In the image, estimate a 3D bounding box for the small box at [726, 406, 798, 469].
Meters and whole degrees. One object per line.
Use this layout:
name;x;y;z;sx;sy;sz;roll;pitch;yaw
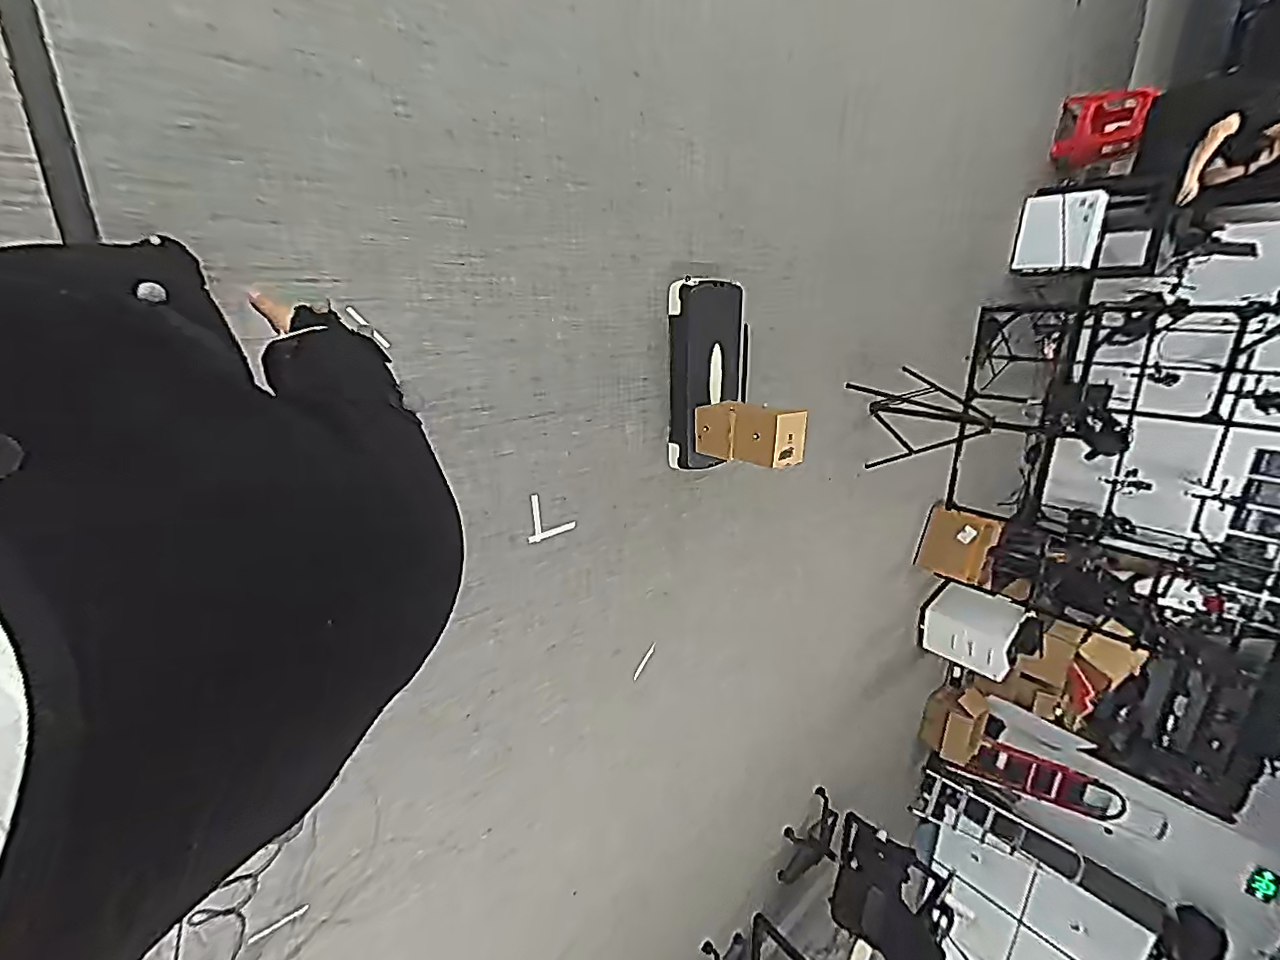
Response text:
small box;0.407;-0.149;1.825;0.168;0.176;0.179;-11;110;-40

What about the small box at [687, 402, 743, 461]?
small box;0.288;-0.179;1.935;0.179;0.176;0.168;-18;115;-37
